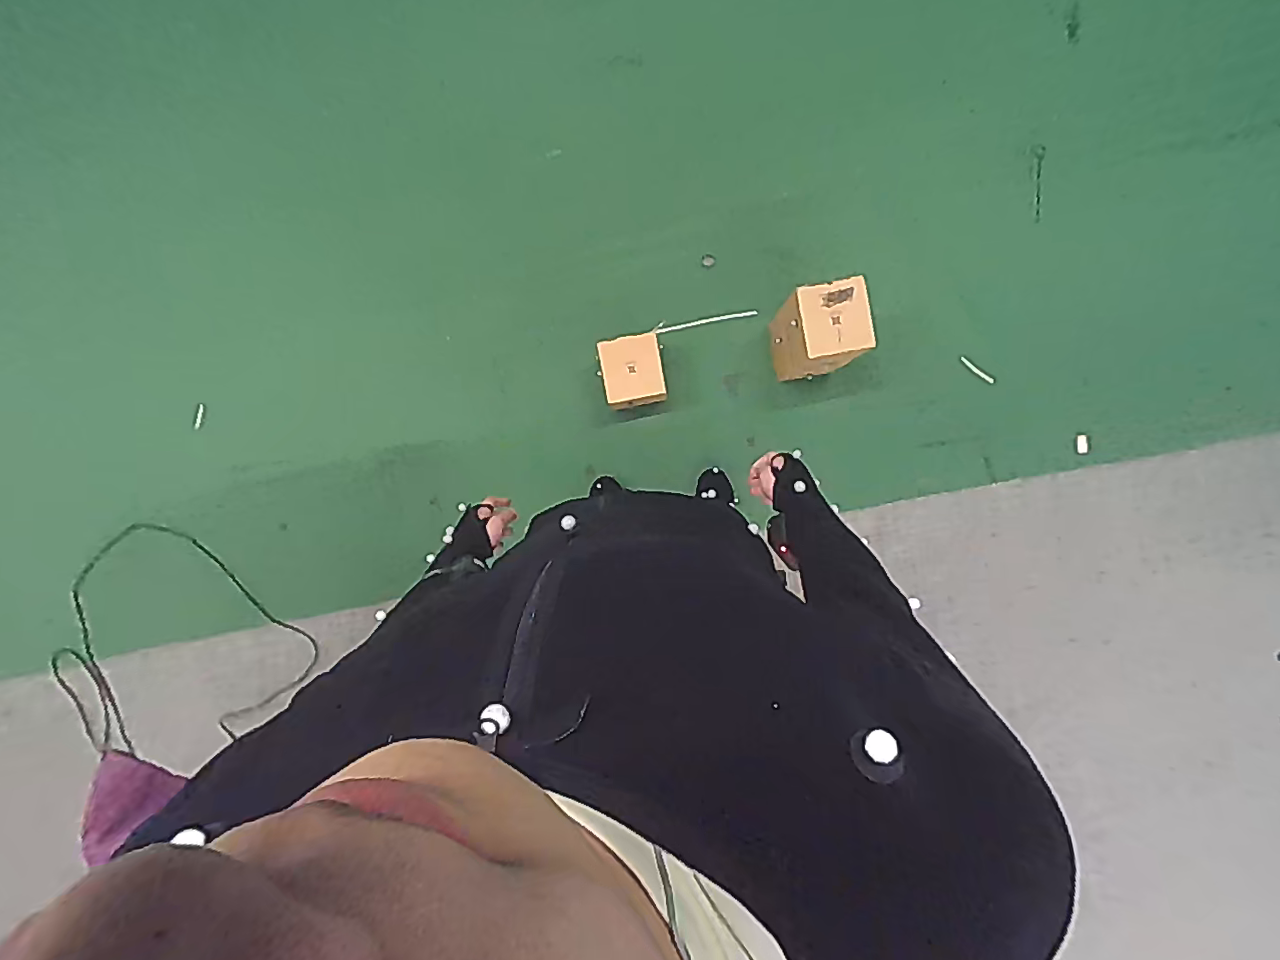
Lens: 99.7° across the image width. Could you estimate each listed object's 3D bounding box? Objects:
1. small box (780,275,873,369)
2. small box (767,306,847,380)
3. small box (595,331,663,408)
[{"bbox_3d":[0.467,-0.395,1.374,0.168,0.176,0.179,-10,91,1],"label":"small box"},{"bbox_3d":[0.468,-0.397,1.538,0.168,0.176,0.179,-10,91,1],"label":"small box"},{"bbox_3d":[-0.026,-0.309,1.555,0.168,0.176,0.179,-11,90,2],"label":"small box"}]
